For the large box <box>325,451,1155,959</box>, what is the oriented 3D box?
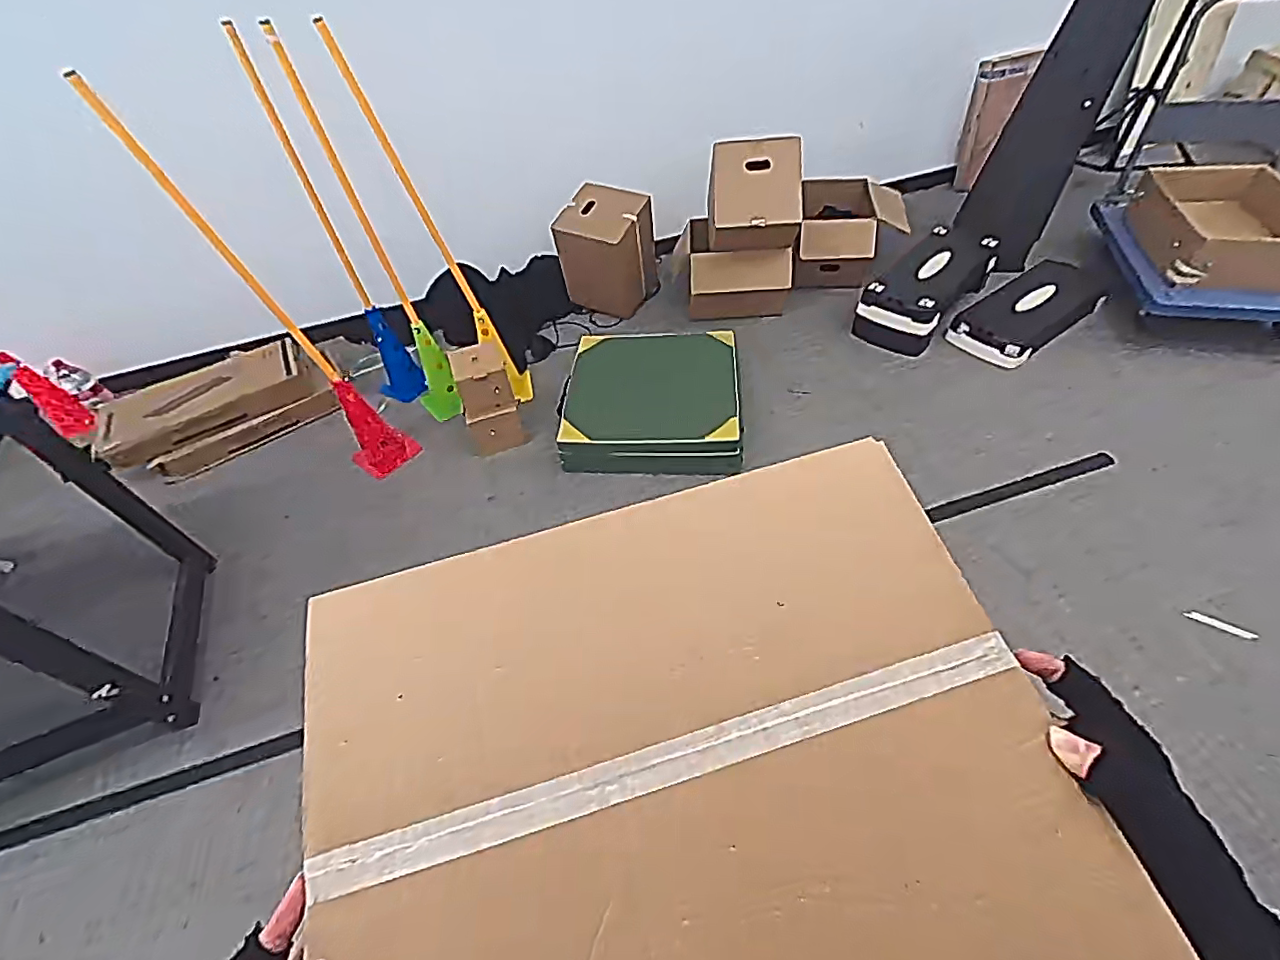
[{"bbox_3d":[0.030,0.229,0.442,0.408,0.320,0.320,-16,61,-4],"label":"large box"}]
